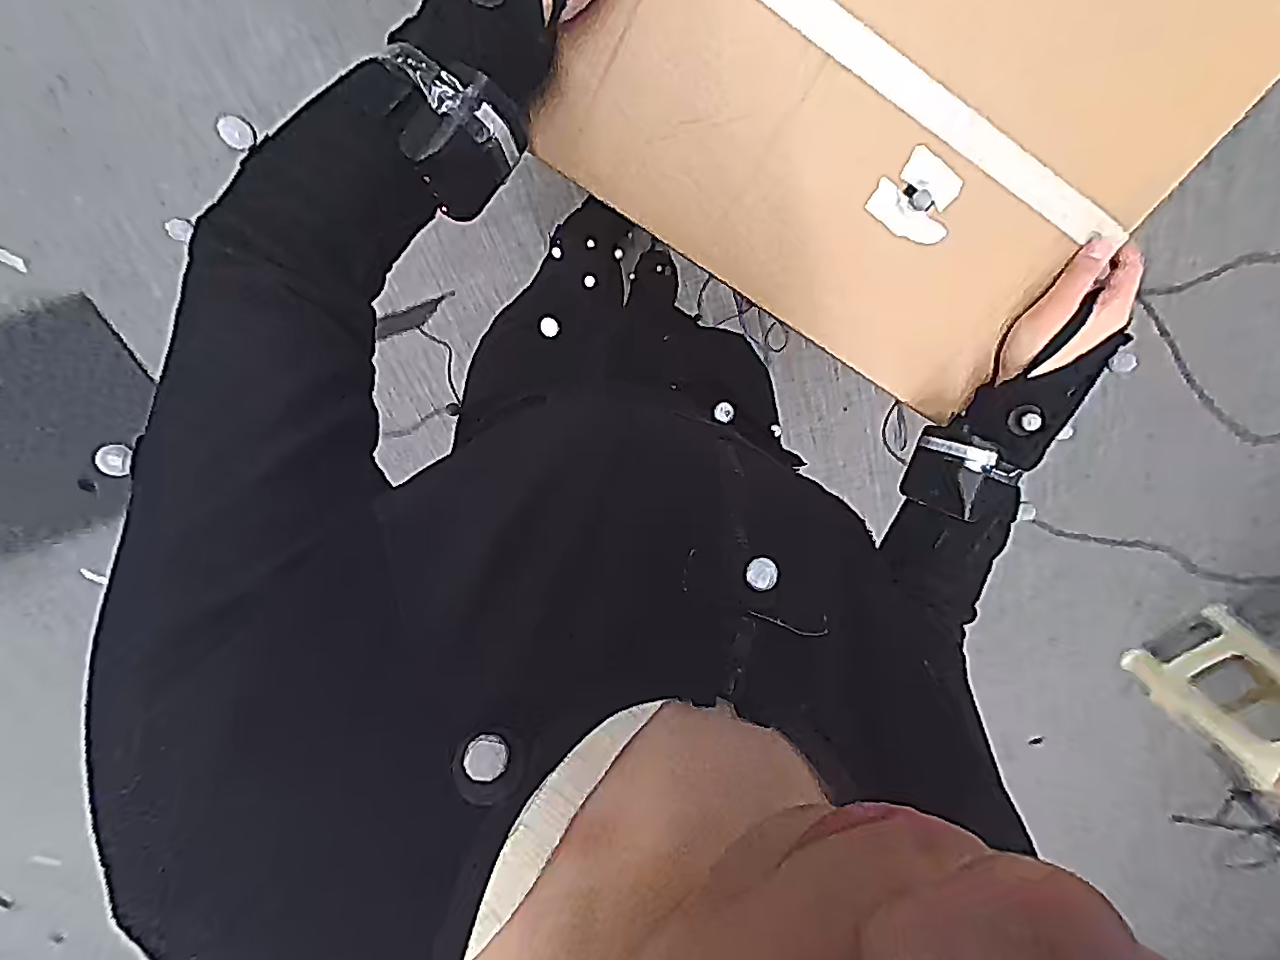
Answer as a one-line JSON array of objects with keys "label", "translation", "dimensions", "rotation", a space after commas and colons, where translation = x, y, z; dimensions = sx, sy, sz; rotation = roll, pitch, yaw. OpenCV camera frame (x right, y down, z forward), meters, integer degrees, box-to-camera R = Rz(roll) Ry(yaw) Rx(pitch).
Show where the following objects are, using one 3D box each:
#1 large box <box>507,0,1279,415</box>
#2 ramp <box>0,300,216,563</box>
[{"label": "large box", "translation": [0.155, -0.324, 0.489], "dimensions": [0.408, 0.320, 0.320], "rotation": [28, 117, -10]}, {"label": "ramp", "translation": [-1.645, -0.024, 1.288], "dimensions": [0.991, 0.206, 0.509], "rotation": [-19, 116, 6]}]
